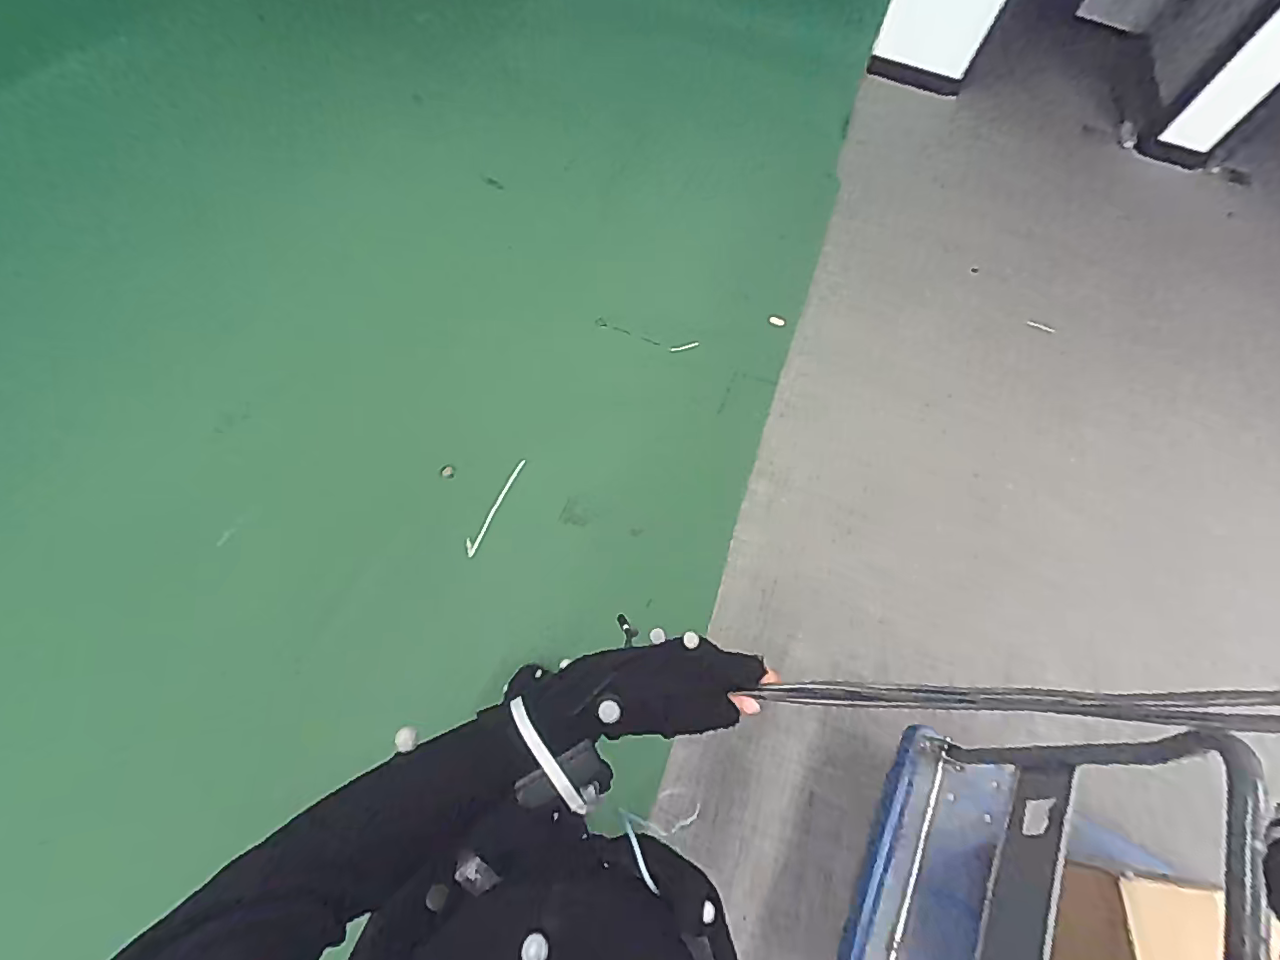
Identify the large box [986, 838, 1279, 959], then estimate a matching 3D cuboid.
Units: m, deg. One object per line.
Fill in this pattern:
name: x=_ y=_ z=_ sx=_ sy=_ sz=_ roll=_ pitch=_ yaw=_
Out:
large box: x=0.850 y=0.873 z=0.903 sx=0.320 sy=0.320 sz=0.408 roll=9 pitch=62 yaw=-2
